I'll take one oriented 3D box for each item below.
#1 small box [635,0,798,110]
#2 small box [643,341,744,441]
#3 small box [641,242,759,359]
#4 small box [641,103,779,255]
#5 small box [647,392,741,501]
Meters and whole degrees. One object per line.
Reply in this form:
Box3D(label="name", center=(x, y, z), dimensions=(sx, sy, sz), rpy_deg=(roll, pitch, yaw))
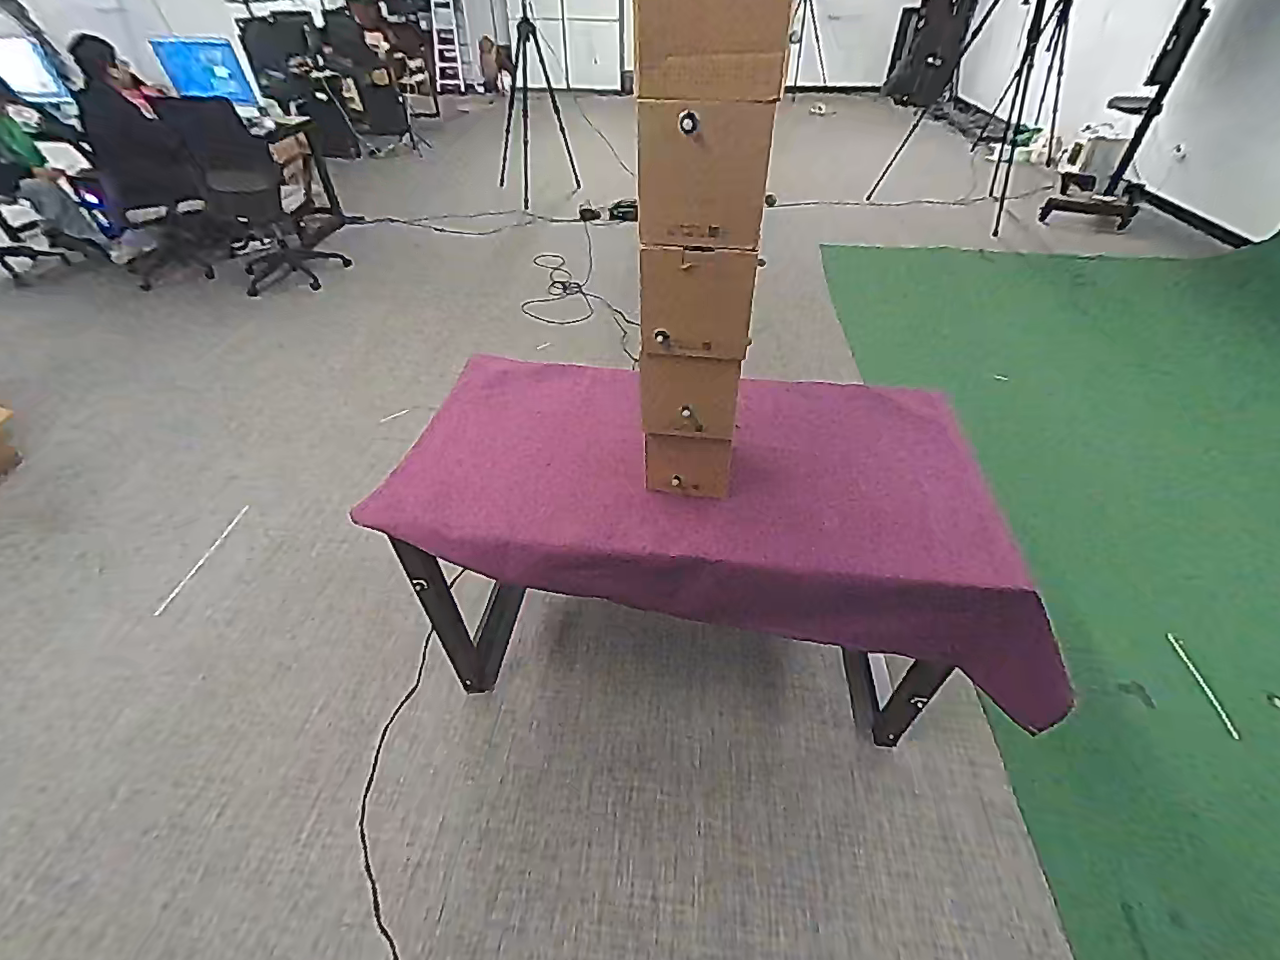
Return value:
Box3D(label="small box", center=(0.093, -0.551, 0.642), dimensions=(0.179, 0.176, 0.168), rpy_deg=(9, 44, 10))
Box3D(label="small box", center=(0.098, -0.193, 0.978), dimensions=(0.168, 0.176, 0.179), rpy_deg=(5, 43, 8))
Box3D(label="small box", center=(0.099, -0.307, 0.860), dimensions=(0.168, 0.176, 0.179), rpy_deg=(6, 42, 8))
Box3D(label="small box", center=(0.097, -0.431, 0.753), dimensions=(0.168, 0.176, 0.179), rpy_deg=(7, 42, 10))
Box3D(label="small box", center=(0.107, -0.083, 1.099), dimensions=(0.168, 0.176, 0.179), rpy_deg=(7, 44, 9))
